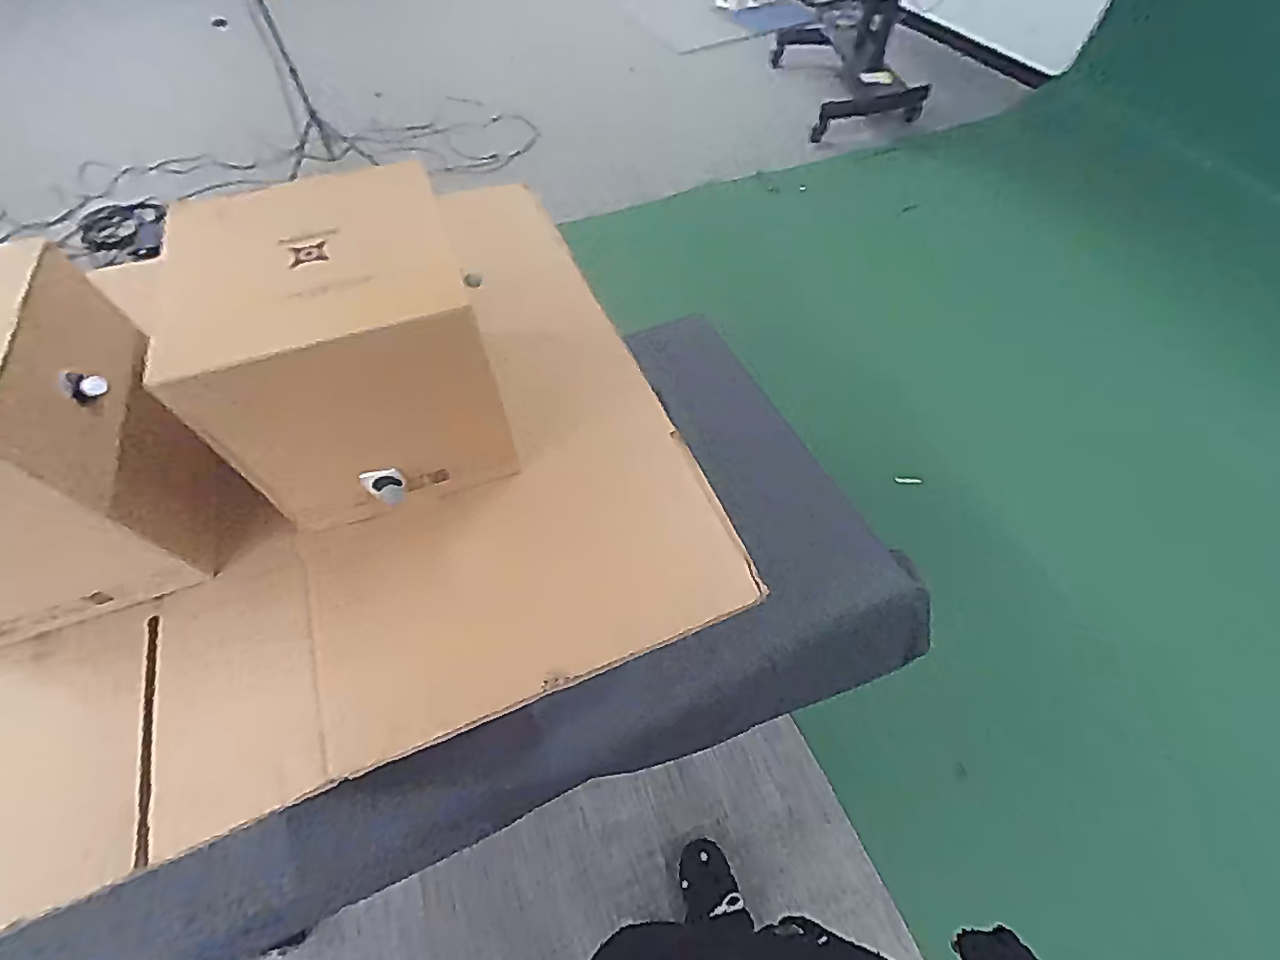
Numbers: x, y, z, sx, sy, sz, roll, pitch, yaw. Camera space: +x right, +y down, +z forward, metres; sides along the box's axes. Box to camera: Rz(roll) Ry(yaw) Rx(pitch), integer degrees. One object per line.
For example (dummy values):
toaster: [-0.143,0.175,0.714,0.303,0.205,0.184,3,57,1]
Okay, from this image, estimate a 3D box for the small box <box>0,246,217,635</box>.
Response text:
small box: [-0.418,-0.013,0.354,0.168,0.176,0.179,-19,58,-11]
